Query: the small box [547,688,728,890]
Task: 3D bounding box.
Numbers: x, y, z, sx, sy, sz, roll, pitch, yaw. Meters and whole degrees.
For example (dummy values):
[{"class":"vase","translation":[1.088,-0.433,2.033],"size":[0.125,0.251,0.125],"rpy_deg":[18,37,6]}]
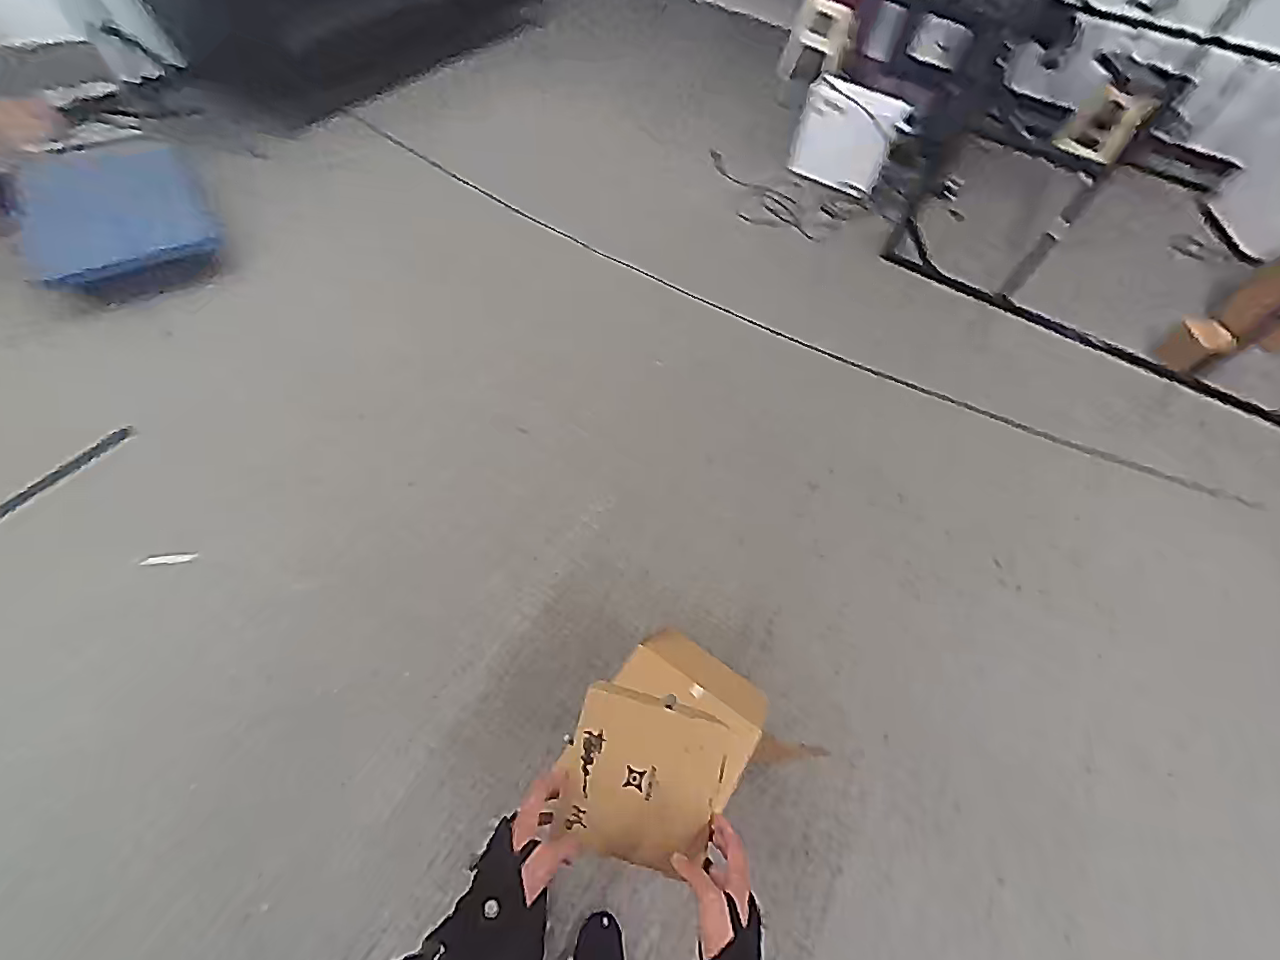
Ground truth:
[{"class":"small box","translation":[-0.002,0.375,0.694],"size":[0.179,0.176,0.168],"rpy_deg":[15,74,3]}]
